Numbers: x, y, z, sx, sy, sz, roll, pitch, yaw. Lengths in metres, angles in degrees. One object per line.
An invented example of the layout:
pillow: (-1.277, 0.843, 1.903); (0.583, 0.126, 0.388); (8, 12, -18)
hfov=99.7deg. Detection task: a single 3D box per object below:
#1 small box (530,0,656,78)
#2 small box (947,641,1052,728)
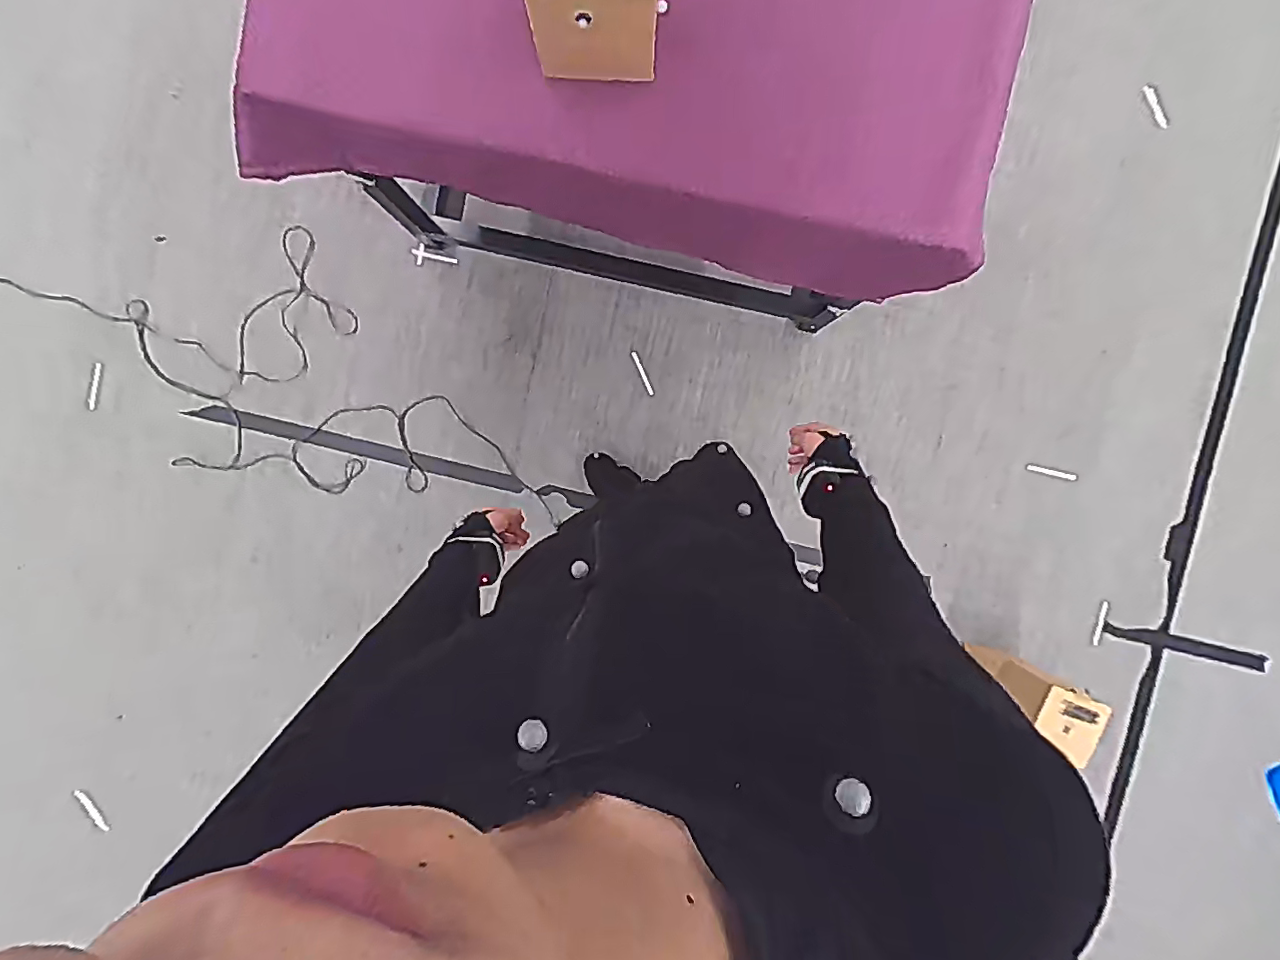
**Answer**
small box: (-0.064, -0.715, 0.773); (0.179, 0.176, 0.168); (2, 94, -1)
small box: (1.049, 0.593, 1.594); (0.179, 0.176, 0.168); (16, 94, -2)
